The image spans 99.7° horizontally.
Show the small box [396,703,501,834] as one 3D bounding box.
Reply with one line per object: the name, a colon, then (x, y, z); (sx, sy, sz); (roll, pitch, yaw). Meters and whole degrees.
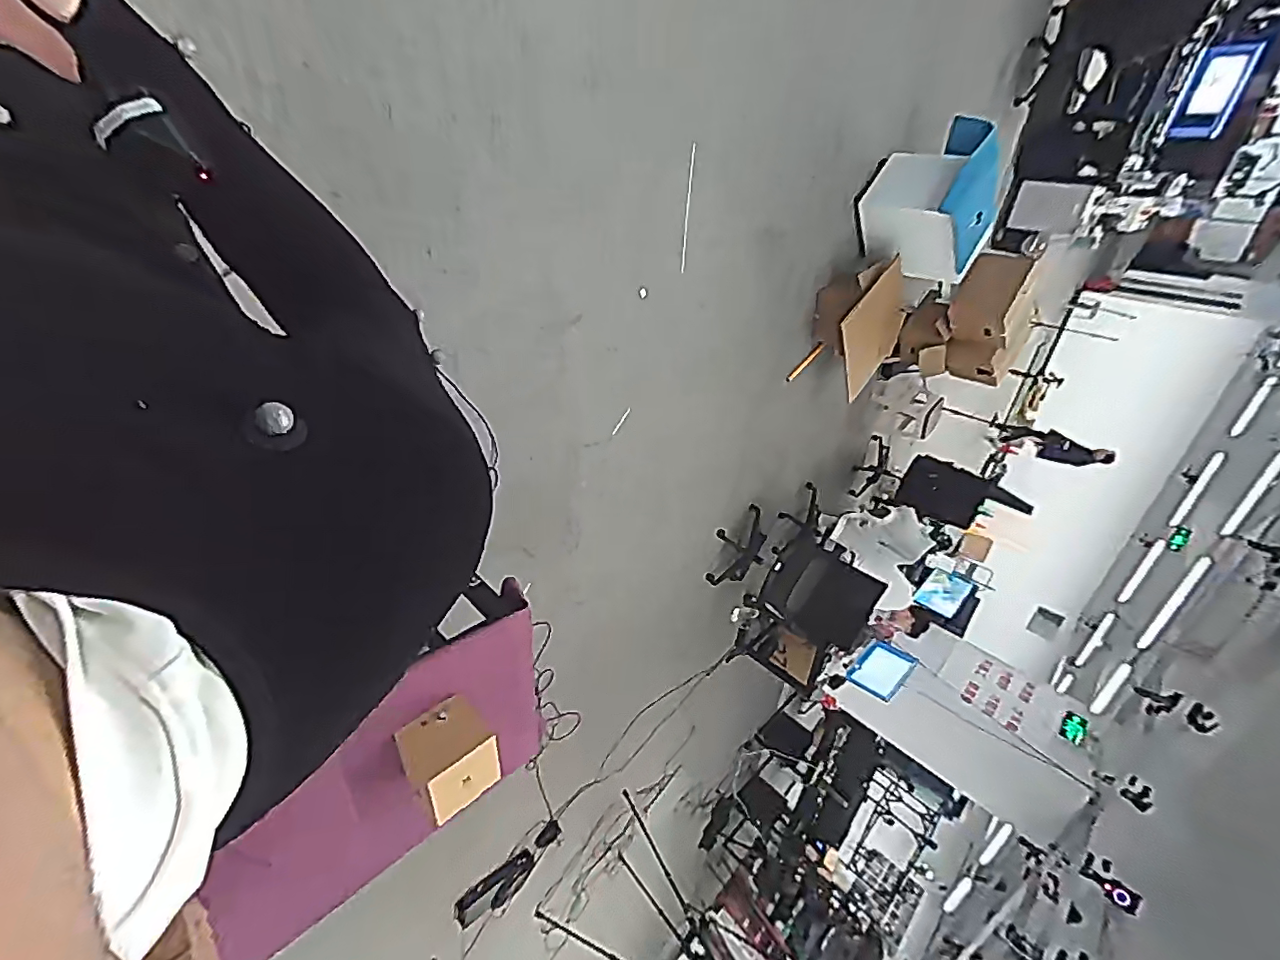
small box: (-0.447, 0.666, 1.266); (0.168, 0.176, 0.179); (-26, 131, -39)
